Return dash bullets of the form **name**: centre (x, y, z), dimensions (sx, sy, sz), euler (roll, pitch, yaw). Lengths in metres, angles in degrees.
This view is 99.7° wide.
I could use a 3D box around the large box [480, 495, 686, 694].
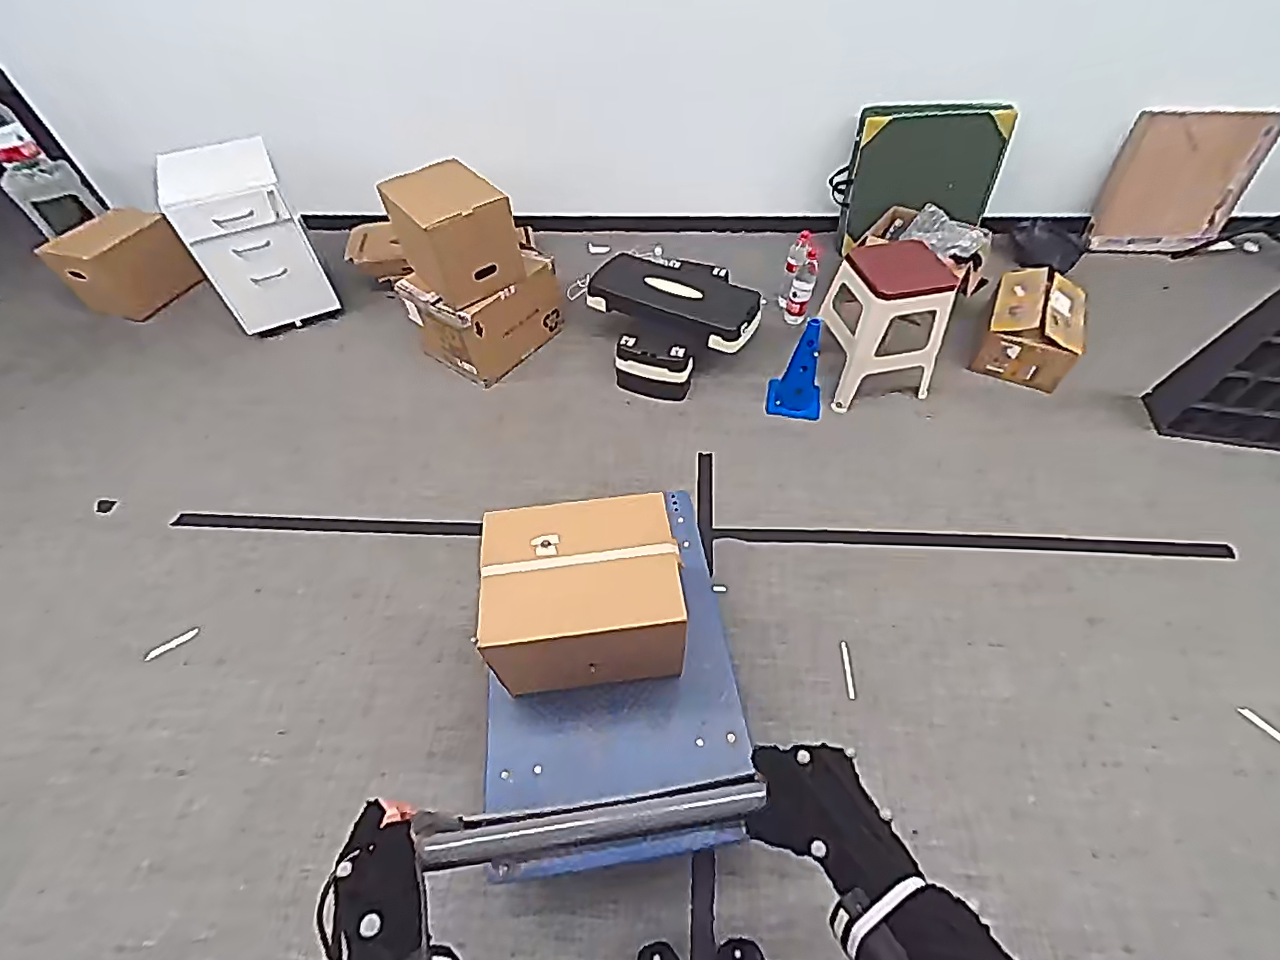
- **large box**: centre (-0.122, 0.269, 1.240), dimensions (0.408, 0.320, 0.320), euler (-7, 52, -3)
